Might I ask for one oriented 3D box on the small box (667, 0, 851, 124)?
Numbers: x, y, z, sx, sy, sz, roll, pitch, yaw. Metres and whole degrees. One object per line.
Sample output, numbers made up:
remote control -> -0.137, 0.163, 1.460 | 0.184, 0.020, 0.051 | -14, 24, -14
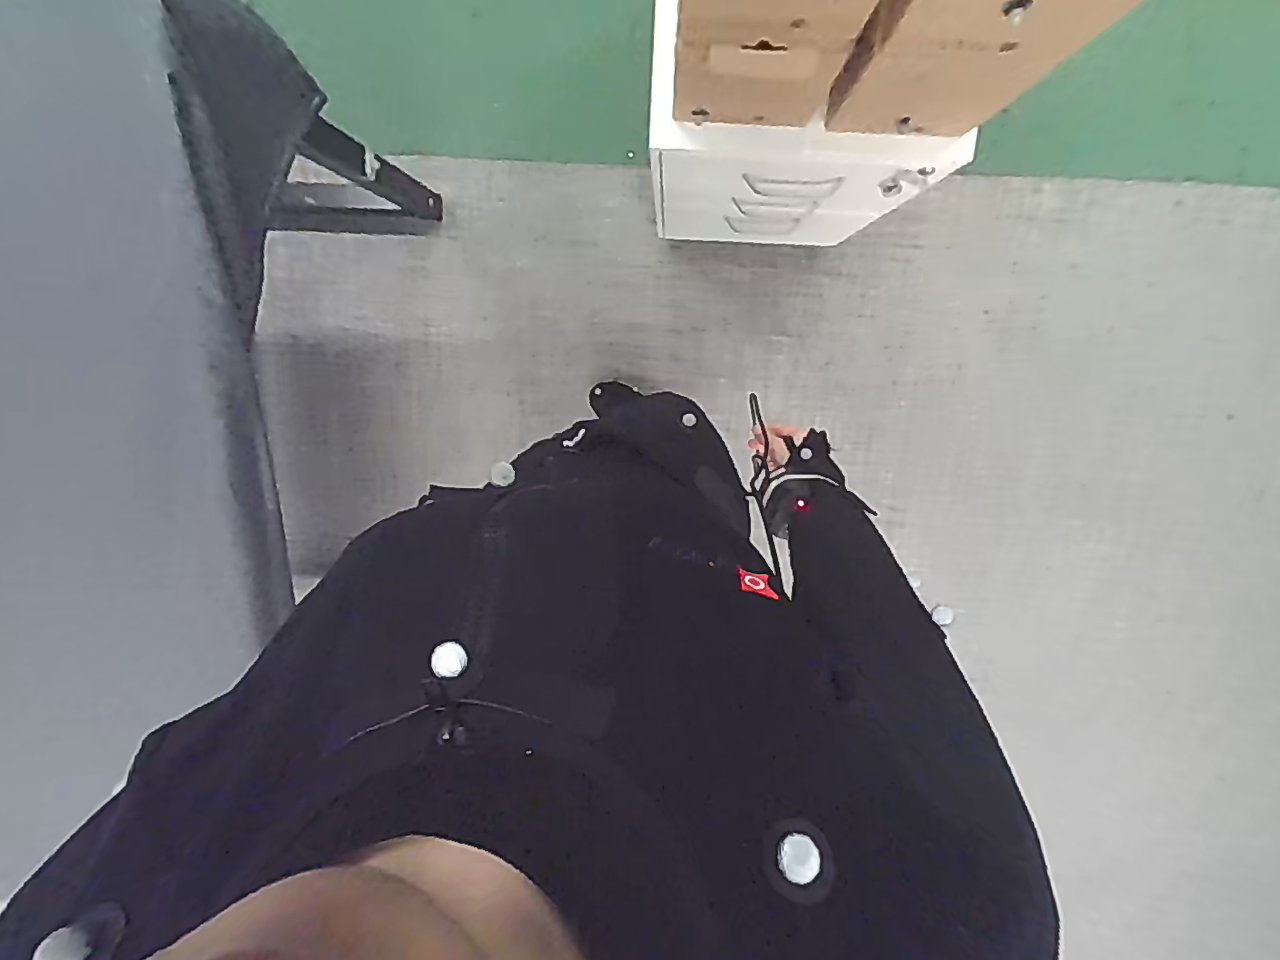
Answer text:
small box -> 0.116, -0.499, 0.561 | 0.168, 0.176, 0.179 | 3, 103, 0
